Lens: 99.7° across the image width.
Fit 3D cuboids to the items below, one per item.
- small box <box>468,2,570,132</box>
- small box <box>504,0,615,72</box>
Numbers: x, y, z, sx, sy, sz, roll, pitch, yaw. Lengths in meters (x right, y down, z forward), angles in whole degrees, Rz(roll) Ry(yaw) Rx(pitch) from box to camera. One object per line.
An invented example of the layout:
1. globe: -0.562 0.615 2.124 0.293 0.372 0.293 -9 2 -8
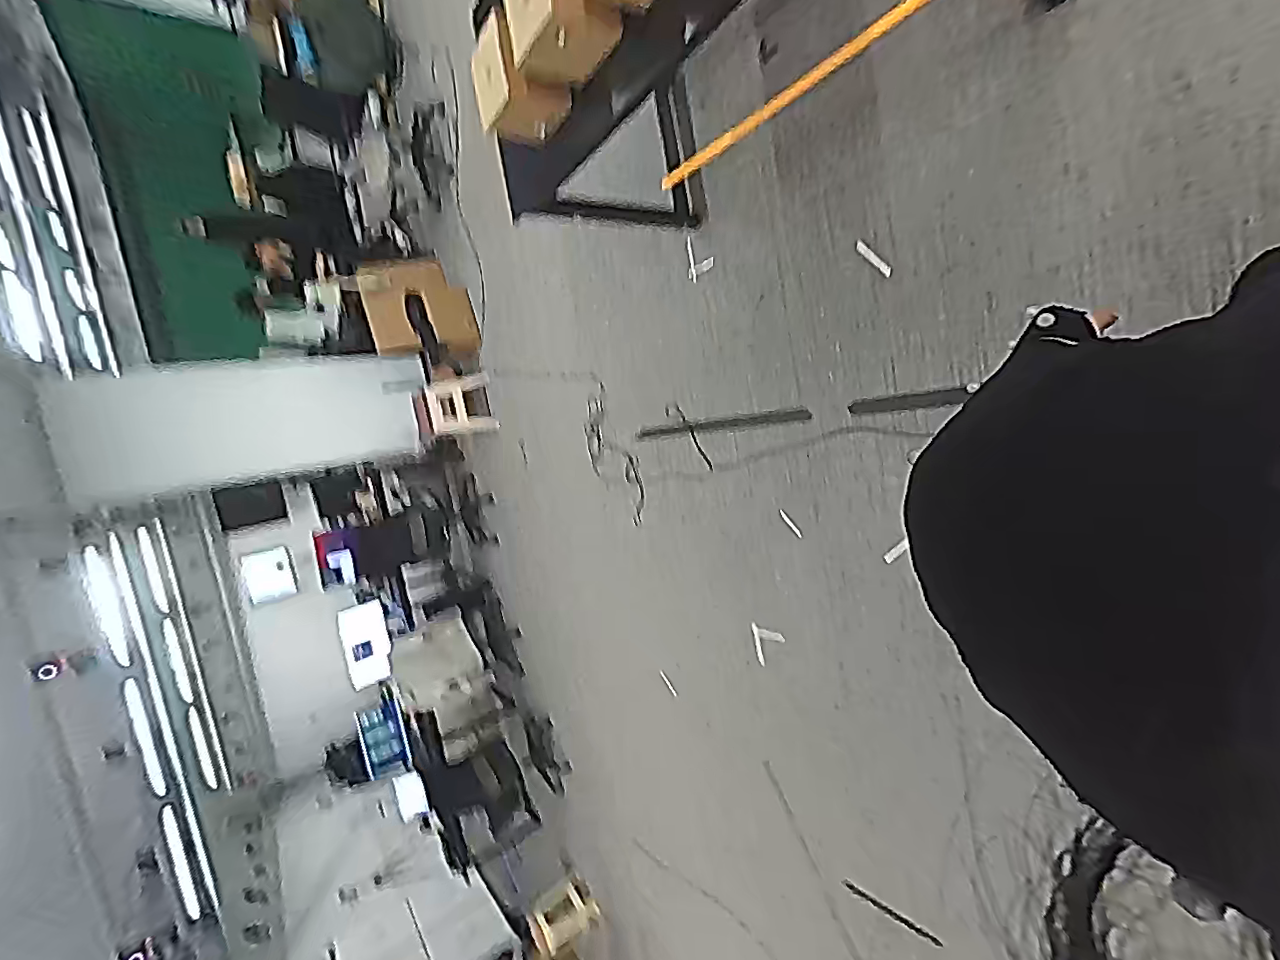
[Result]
1. small box: -0.288 -0.971 1.290 0.168 0.176 0.179 -2 101 56
2. small box: -0.163 -0.988 1.109 0.179 0.176 0.168 0 101 54
